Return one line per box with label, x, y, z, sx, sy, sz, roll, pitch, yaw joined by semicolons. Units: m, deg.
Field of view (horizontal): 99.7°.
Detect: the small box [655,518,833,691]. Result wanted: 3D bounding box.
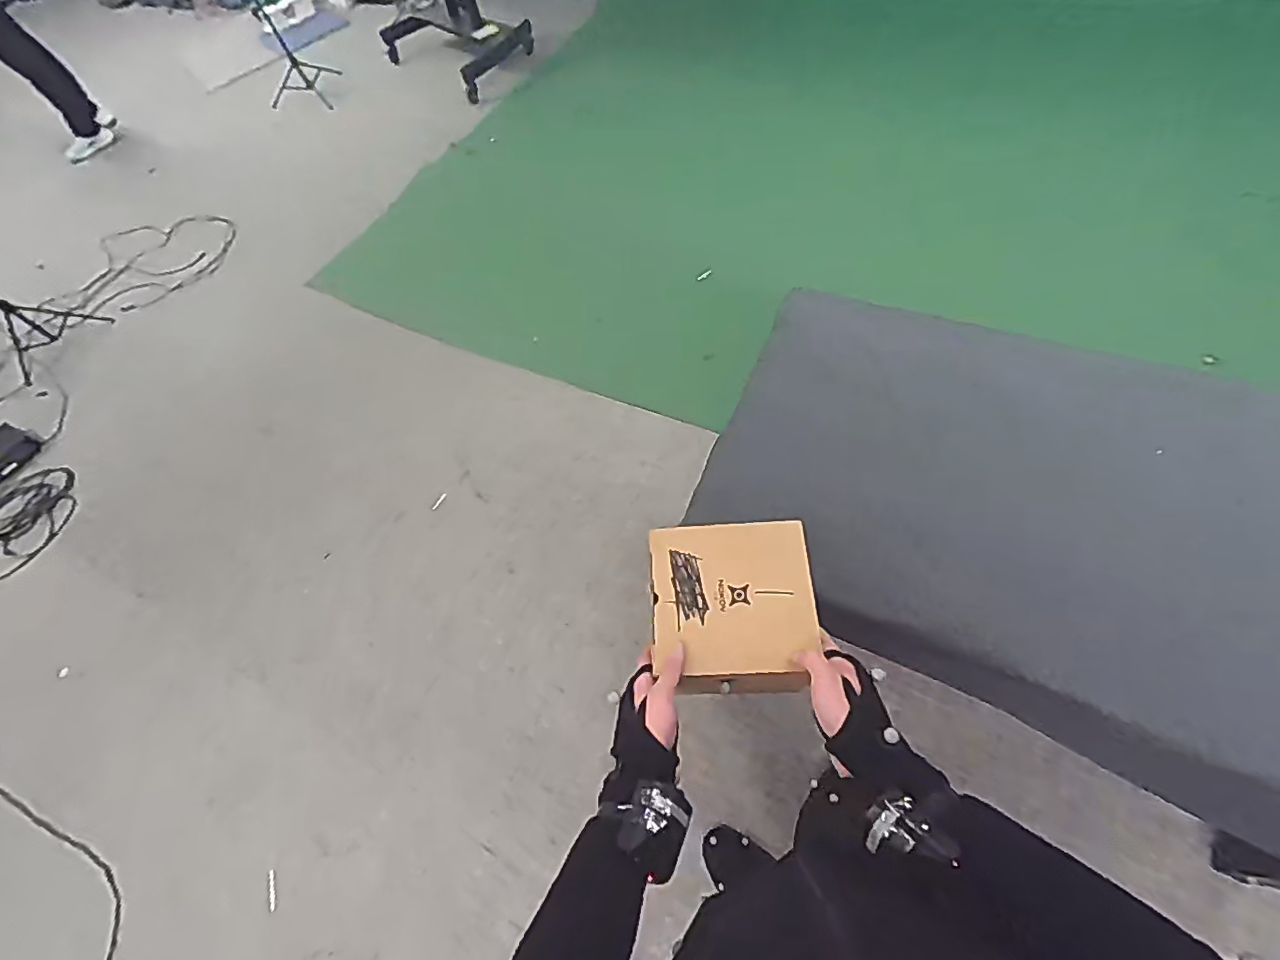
small box;0.113;0.155;0.645;0.179;0.176;0.168;-3;63;4
